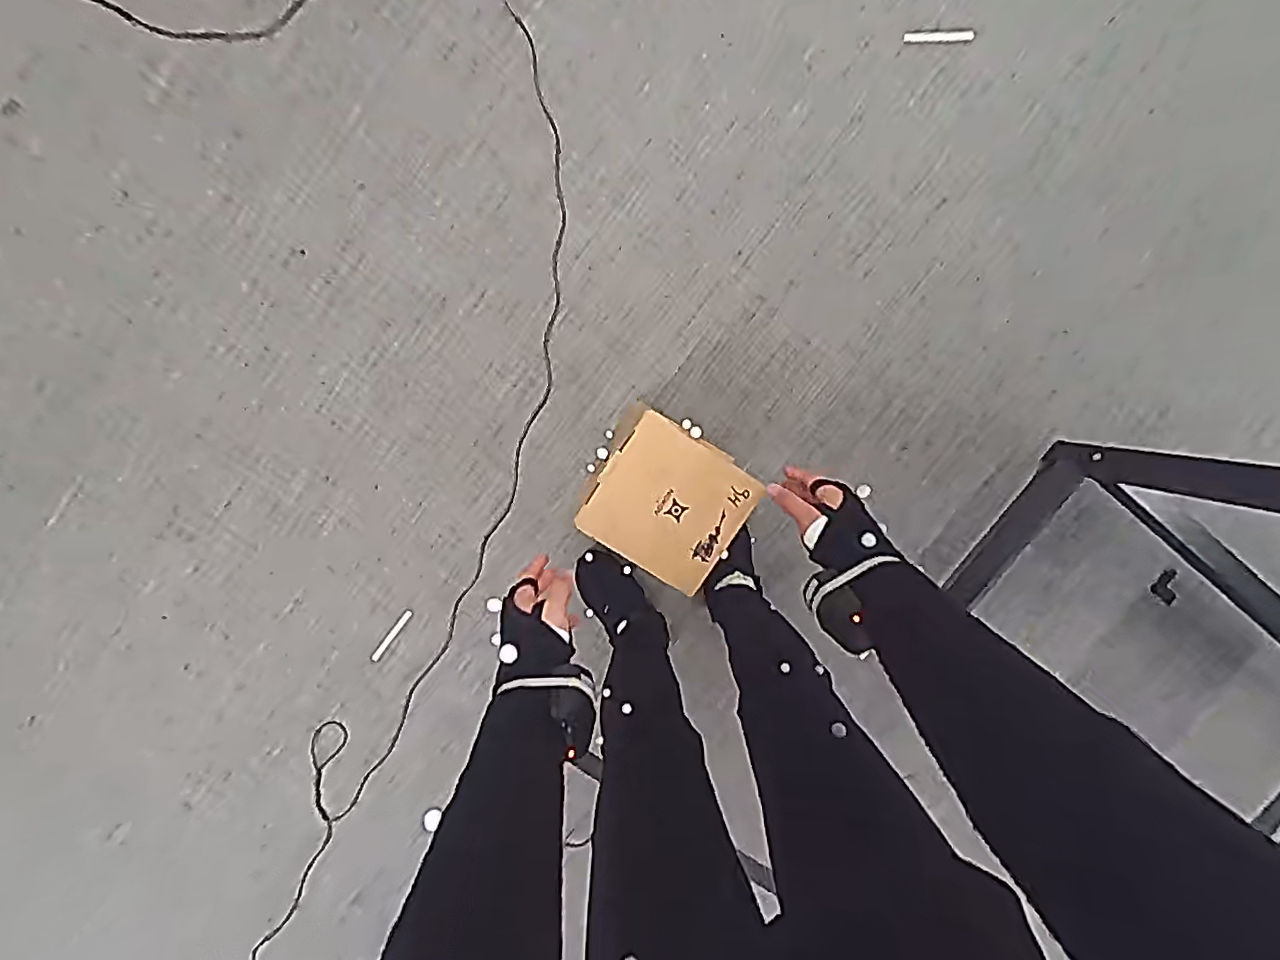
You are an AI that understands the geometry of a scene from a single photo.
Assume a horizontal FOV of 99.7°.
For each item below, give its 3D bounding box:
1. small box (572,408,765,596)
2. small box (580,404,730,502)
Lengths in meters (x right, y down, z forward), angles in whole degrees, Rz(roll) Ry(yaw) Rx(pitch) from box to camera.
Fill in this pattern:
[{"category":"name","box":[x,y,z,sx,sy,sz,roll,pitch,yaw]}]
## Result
[{"category":"small box","box":[0.030,0.019,0.717,0.179,0.176,0.168,33,96,-8]},{"category":"small box","box":[0.018,-0.009,0.879,0.168,0.176,0.179,30,95,-8]}]
